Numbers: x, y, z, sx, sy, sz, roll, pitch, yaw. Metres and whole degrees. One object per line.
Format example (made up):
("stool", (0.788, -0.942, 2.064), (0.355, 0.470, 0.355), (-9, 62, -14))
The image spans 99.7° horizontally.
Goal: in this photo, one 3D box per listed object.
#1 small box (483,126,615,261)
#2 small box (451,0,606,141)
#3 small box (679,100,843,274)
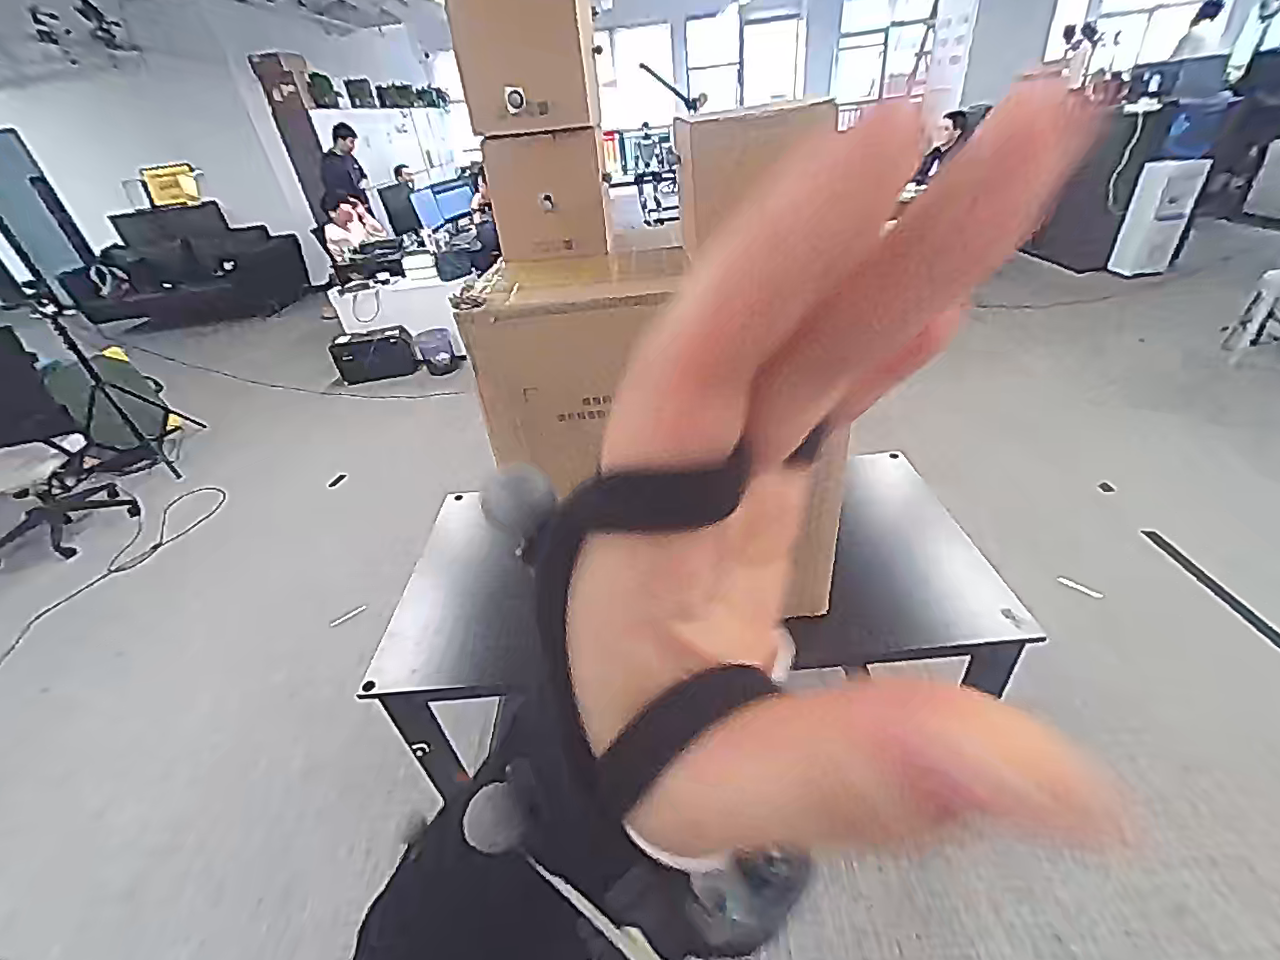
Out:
("small box", (-0.130, -0.451, 0.855), (0.168, 0.176, 0.179), (-4, 35, 2))
("small box", (-0.142, -0.577, 0.750), (0.168, 0.176, 0.179), (-4, 35, 5))
("small box", (0.145, -0.379, 0.700), (0.168, 0.176, 0.179), (-8, 36, 2))
